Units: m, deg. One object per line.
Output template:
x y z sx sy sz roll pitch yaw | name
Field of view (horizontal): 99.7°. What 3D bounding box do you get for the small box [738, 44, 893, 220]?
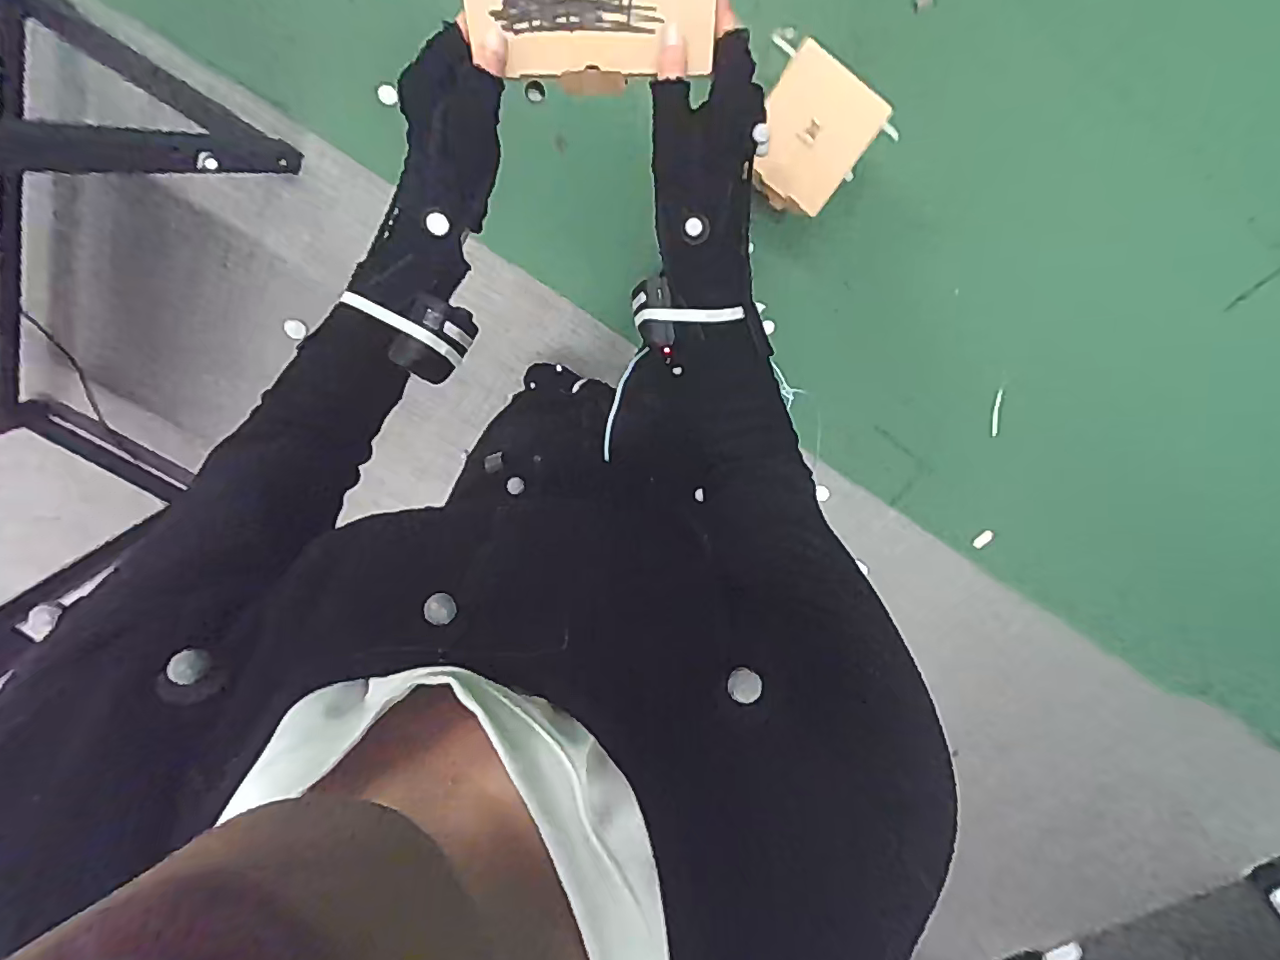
0.275 -0.566 0.900 0.168 0.176 0.179 32 118 -10 | small box
